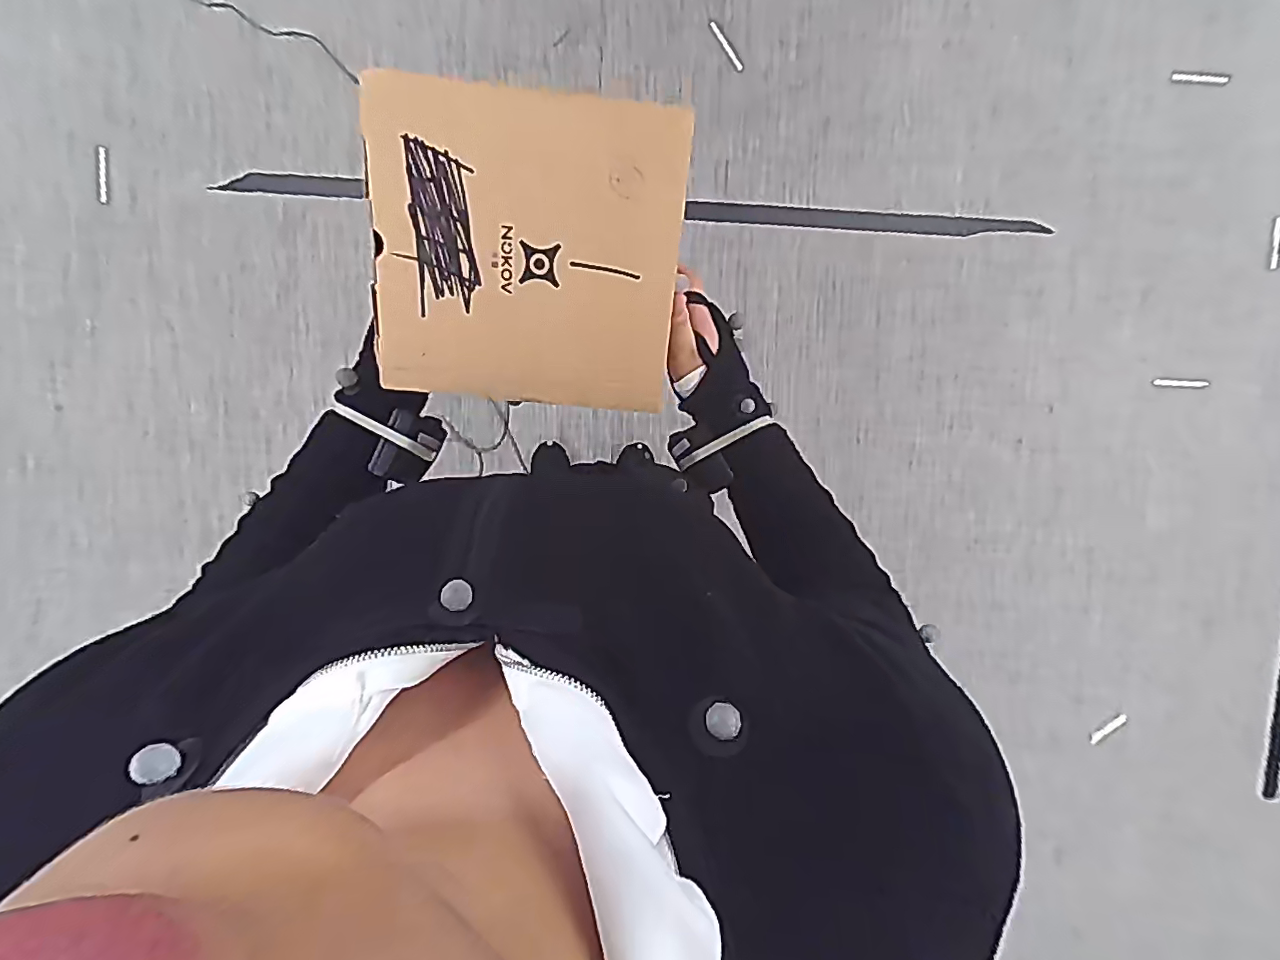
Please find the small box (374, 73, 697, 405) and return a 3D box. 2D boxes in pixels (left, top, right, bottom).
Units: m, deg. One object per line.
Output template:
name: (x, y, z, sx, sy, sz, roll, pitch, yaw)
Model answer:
small box: (-0.063, -0.160, 0.390, 0.179, 0.176, 0.168, 5, 111, -3)
